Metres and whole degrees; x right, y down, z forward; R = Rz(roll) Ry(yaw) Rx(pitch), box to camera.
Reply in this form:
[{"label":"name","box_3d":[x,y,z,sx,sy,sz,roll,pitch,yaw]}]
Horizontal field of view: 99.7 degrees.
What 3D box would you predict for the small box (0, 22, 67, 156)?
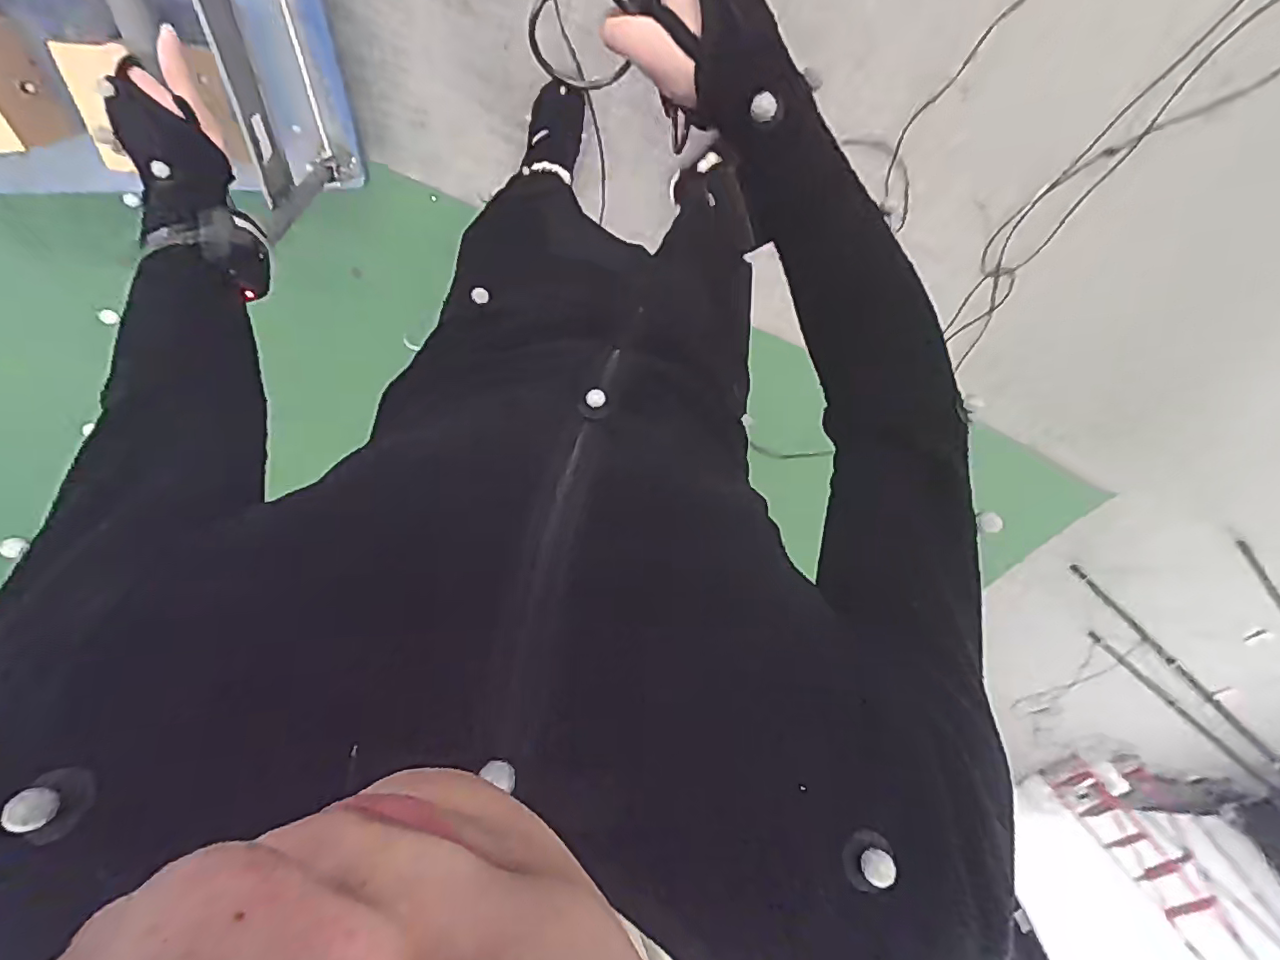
[{"label":"small box","box_3d":[-1.103,-0.632,0.874,0.179,0.176,0.168,-8,132,-6]}]
